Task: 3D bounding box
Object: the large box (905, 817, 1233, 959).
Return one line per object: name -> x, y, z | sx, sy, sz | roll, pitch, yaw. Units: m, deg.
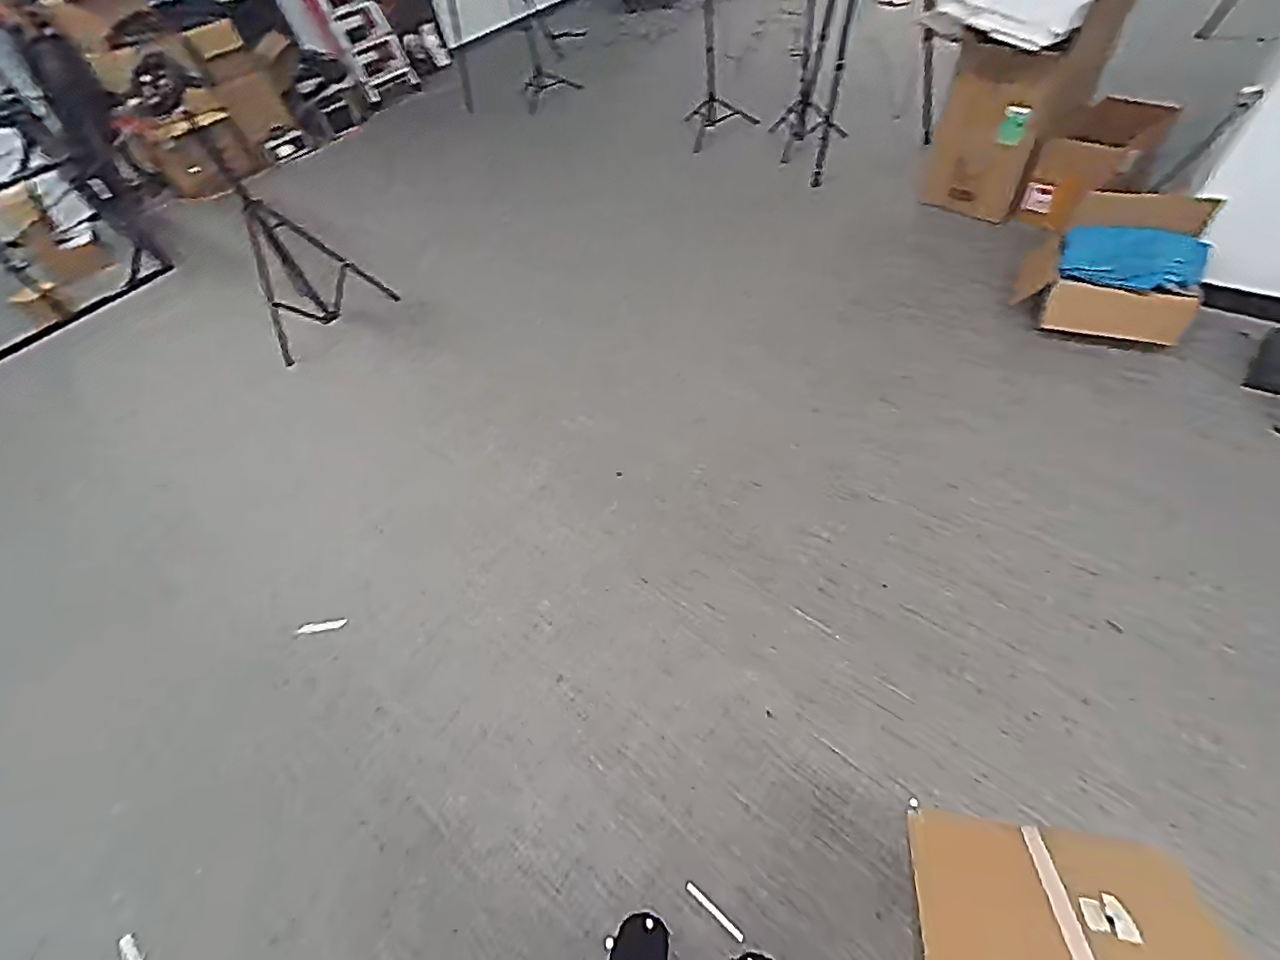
large box -> 0.502, 0.682, 0.611 | 0.320, 0.320, 0.408 | -3, 7, 21
